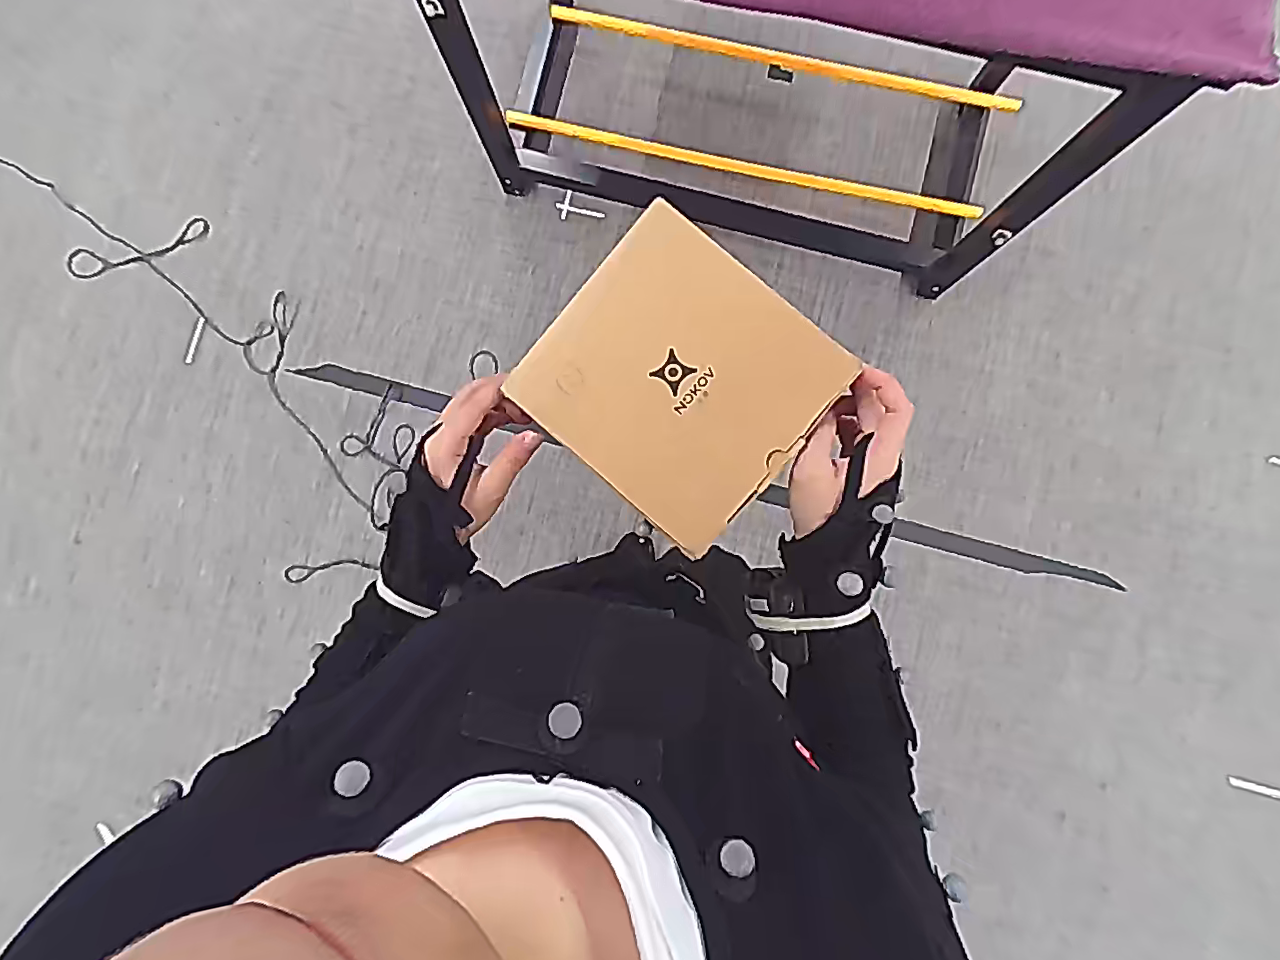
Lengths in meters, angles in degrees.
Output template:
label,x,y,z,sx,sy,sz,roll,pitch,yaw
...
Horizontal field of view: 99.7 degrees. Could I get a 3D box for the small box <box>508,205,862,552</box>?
label,x,y,z,sx,sy,sz,roll,pitch,yaw
small box,0.030,-0.065,0.433,0.179,0.176,0.168,40,92,2
